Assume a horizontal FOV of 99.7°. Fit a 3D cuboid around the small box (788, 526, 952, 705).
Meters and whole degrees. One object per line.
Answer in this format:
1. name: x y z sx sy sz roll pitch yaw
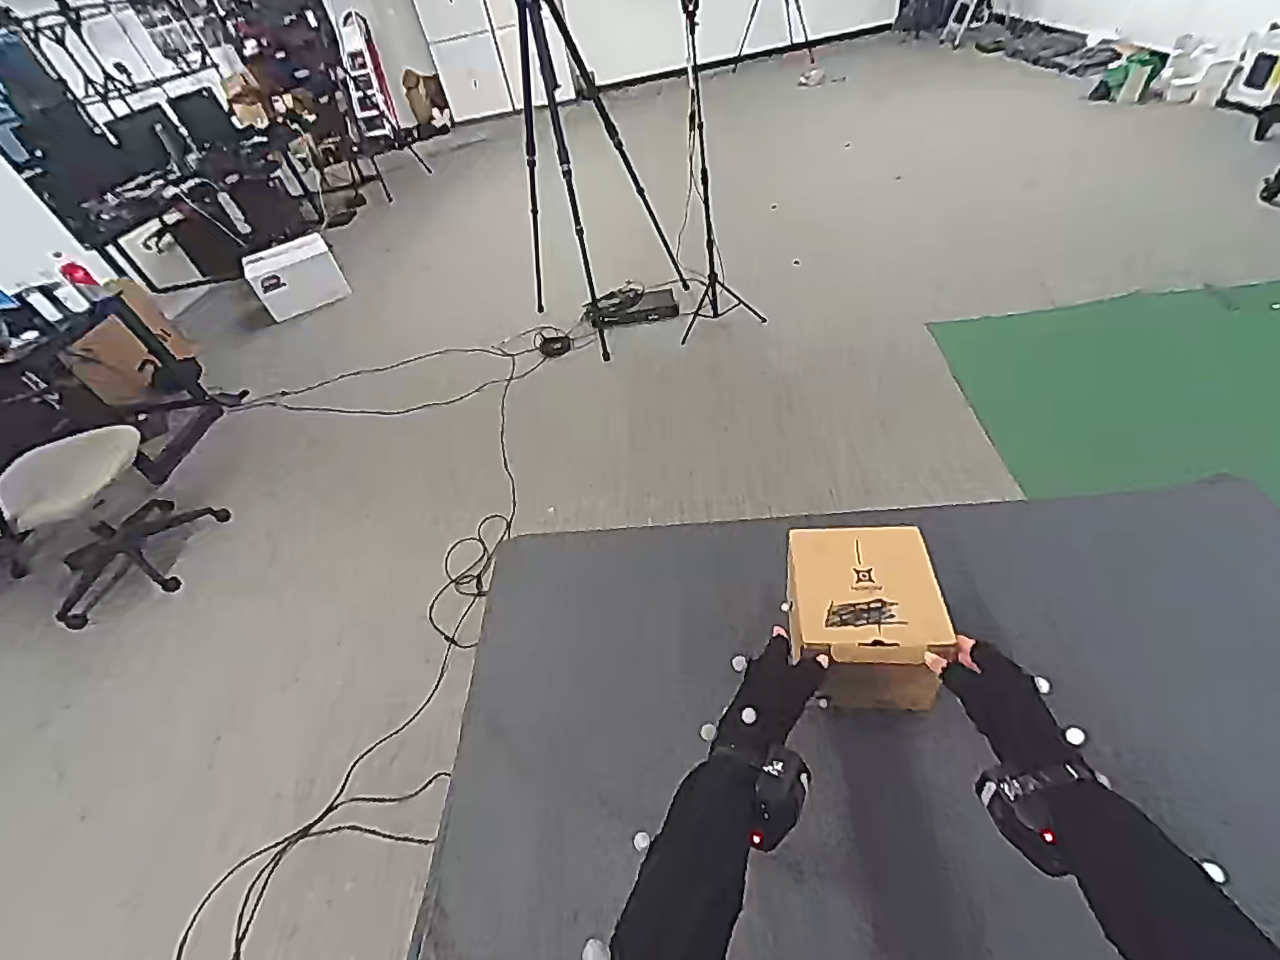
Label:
1. small box: 0.288 0.182 0.720 0.168 0.176 0.179 -3 45 11
